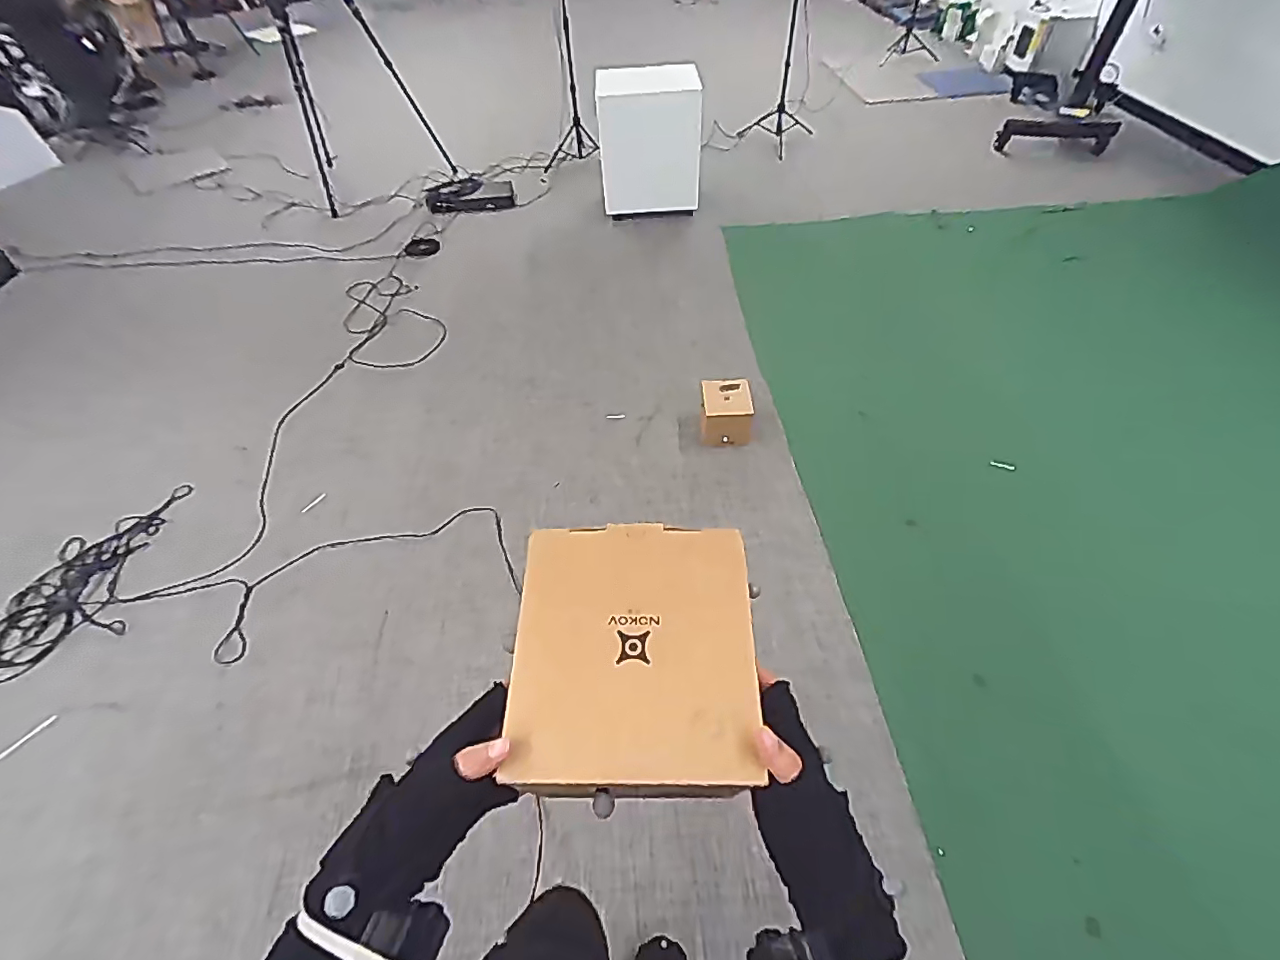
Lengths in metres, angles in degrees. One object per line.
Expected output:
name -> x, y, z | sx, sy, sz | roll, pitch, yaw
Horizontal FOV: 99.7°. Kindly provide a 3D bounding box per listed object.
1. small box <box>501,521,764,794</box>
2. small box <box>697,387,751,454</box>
small box -> -0.001, 0.150, 0.440 | 0.168, 0.176, 0.179 | -1, 55, 1
small box -> 0.297, -0.213, 1.947 | 0.168, 0.176, 0.179 | -2, 52, 1
